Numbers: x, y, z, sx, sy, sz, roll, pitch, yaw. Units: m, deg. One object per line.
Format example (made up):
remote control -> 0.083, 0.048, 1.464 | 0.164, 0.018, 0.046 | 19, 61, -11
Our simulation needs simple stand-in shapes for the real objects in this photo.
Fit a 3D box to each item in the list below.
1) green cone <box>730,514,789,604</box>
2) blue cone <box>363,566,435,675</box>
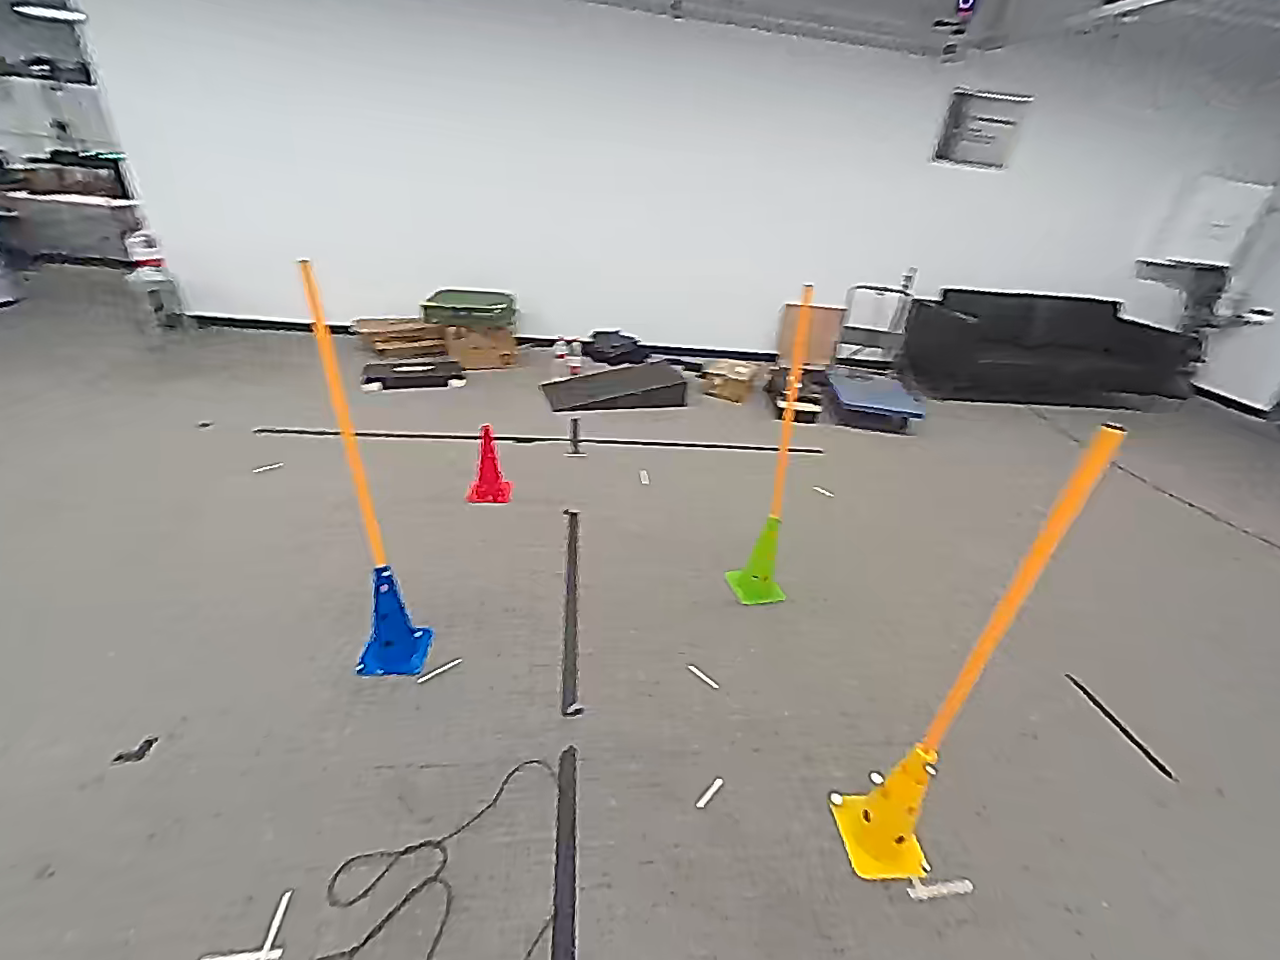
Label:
green cone -> 0.510, 0.291, 2.155 | 0.200, 0.368, 0.202 | -3, 32, -17
blue cone -> -0.768, 0.419, 1.692 | 0.193, 0.380, 0.192 | 3, 30, -5
